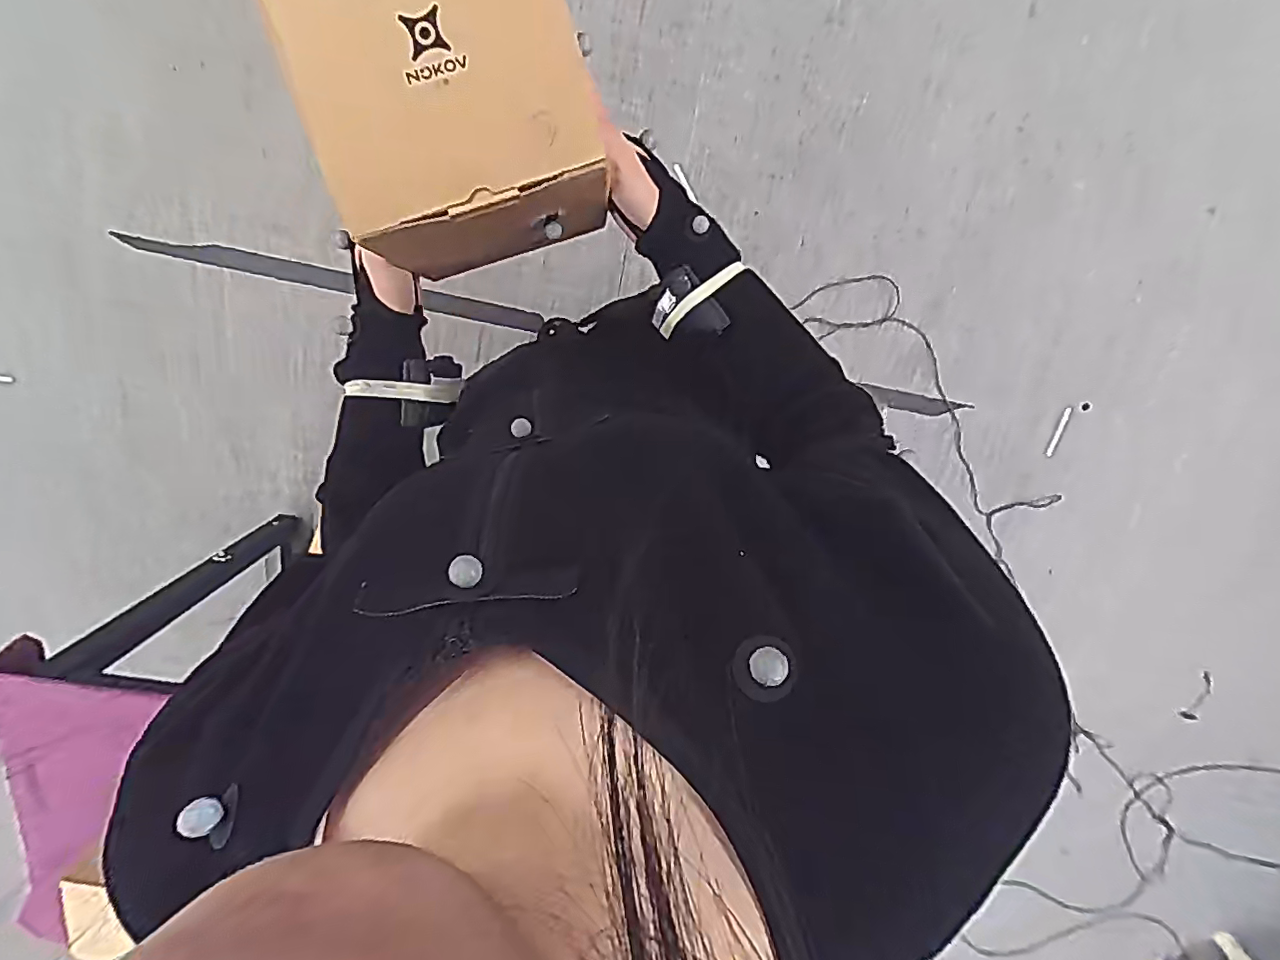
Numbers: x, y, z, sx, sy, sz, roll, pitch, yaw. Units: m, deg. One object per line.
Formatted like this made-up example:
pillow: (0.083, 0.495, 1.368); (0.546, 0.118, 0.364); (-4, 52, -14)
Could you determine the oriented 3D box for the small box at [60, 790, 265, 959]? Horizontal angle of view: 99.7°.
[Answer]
small box: (-0.735, 0.625, 0.851); (0.179, 0.176, 0.168); (11, 108, -6)
